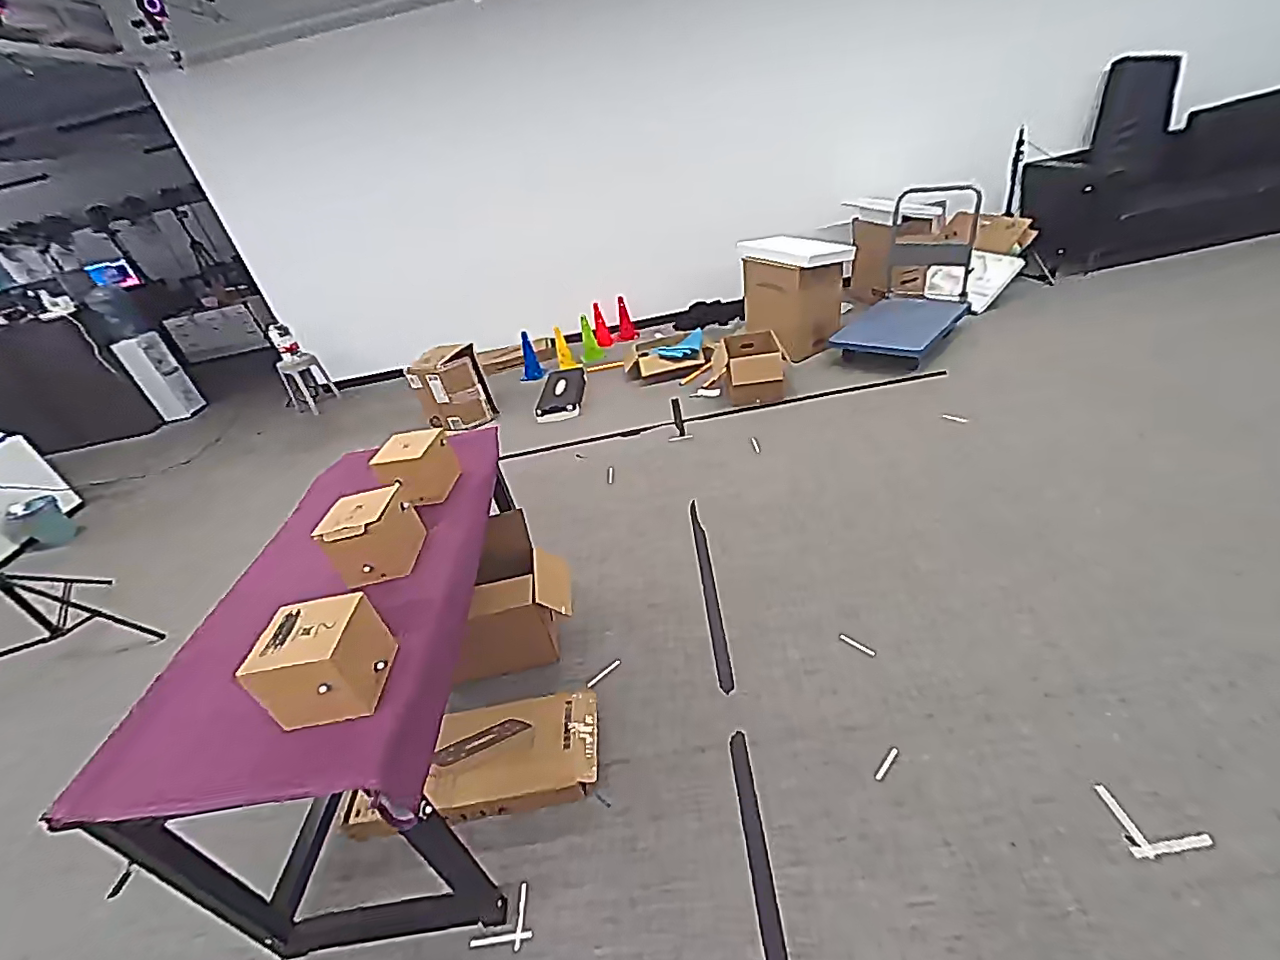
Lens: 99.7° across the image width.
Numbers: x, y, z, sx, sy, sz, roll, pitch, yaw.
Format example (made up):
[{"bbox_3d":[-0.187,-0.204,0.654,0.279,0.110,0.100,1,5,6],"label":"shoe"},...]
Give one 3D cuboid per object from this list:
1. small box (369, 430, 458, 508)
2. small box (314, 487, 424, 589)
[{"bbox_3d":[-0.675,-0.028,1.639,0.168,0.176,0.179,-8,33,8],"label":"small box"},{"bbox_3d":[-0.674,0.146,1.372,0.168,0.176,0.179,-14,33,3],"label":"small box"}]
